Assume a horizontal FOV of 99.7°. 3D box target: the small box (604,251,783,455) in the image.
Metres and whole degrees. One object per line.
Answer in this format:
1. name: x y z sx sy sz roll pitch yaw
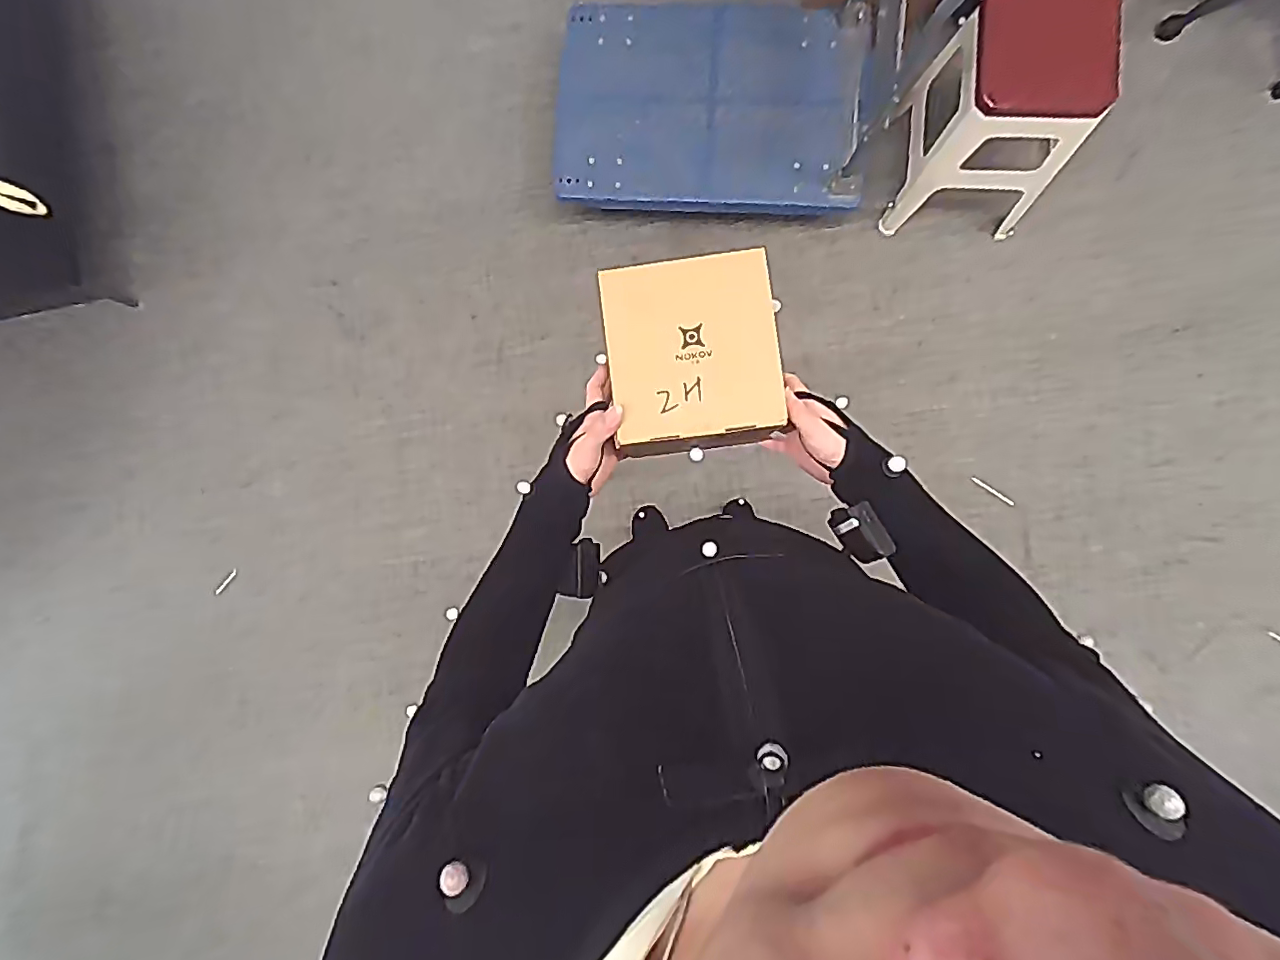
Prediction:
1. small box: 0.055 -0.129 0.612 0.168 0.176 0.179 -6 88 3
